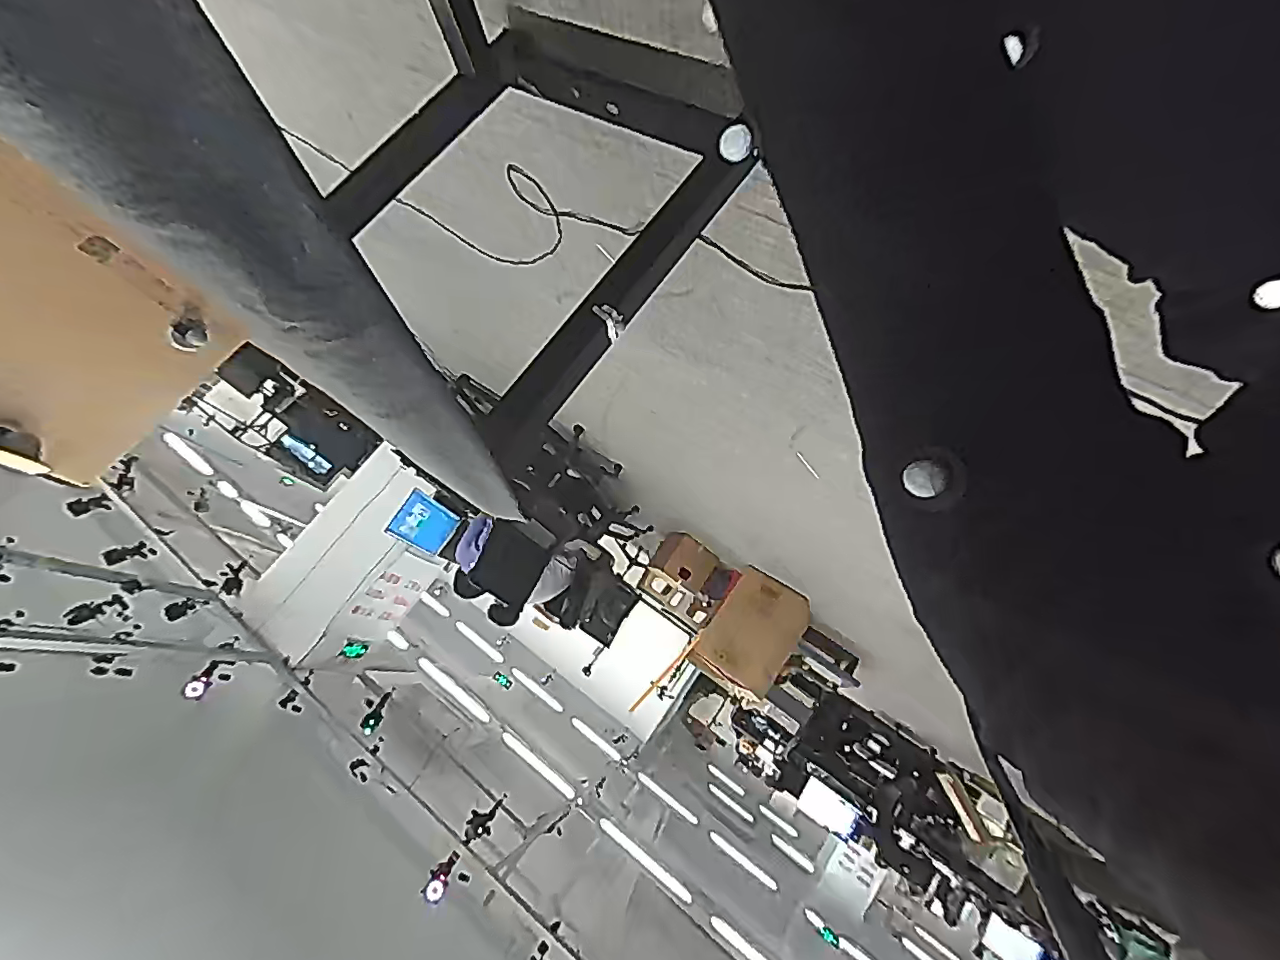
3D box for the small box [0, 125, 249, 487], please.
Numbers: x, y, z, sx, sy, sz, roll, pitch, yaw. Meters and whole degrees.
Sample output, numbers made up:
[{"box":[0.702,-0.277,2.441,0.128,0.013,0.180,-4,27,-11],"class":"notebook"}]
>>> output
[{"box":[-0.435,-0.130,0.388,0.179,0.176,0.168,33,166,22],"class":"small box"}]
